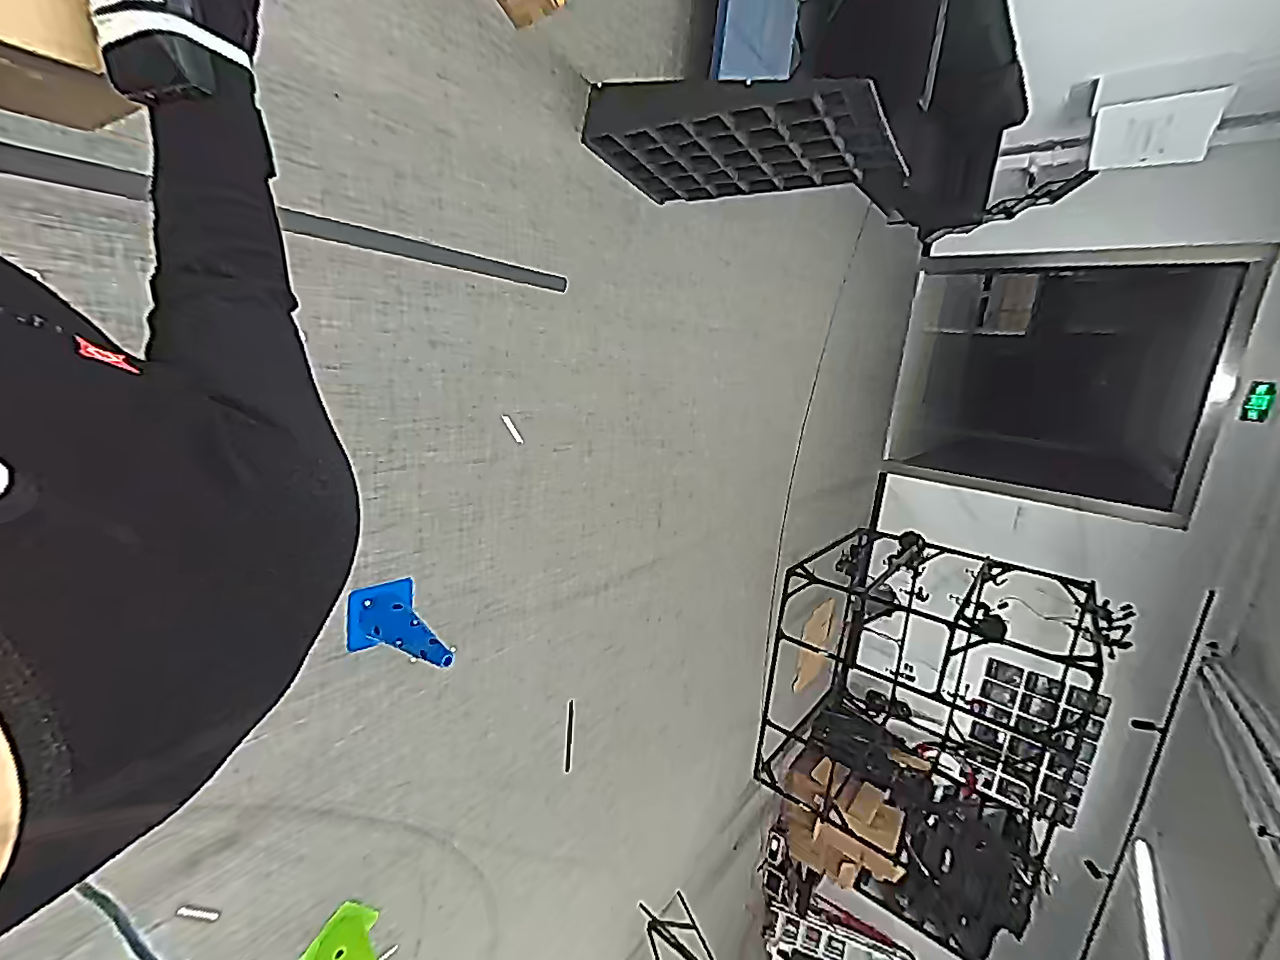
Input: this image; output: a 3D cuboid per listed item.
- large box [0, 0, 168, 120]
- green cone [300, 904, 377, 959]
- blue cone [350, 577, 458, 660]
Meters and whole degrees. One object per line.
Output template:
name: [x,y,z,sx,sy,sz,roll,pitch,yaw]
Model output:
large box: [-0.563,-0.446,0.282,0.408,0.320,0.320,-12,116,-52]
green cone: [-0.856,1.546,1.674,0.202,0.368,0.200,-52,139,-30]
blue cone: [-0.664,0.436,1.566,0.192,0.380,0.193,-6,107,-53]
